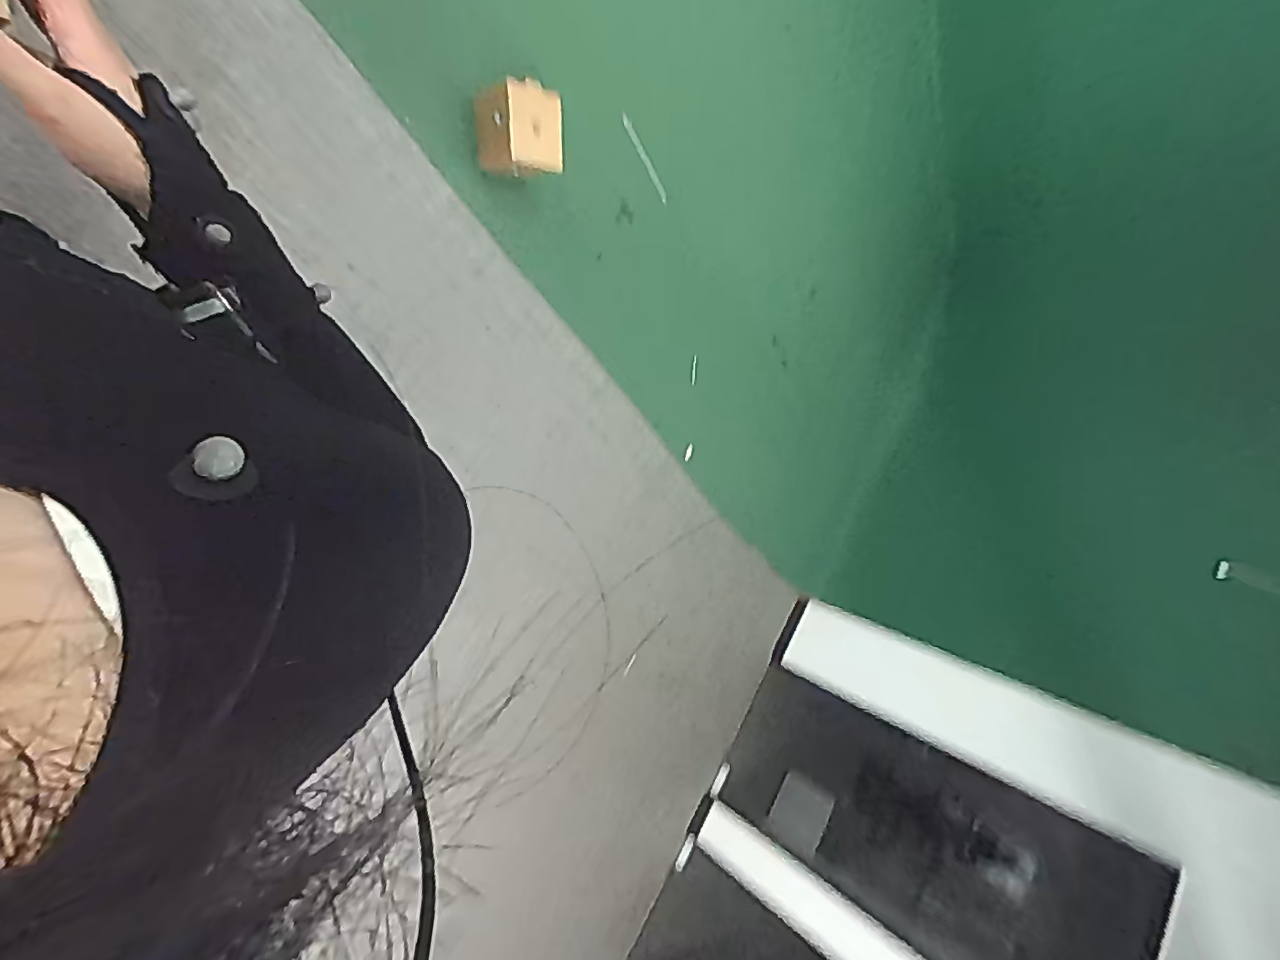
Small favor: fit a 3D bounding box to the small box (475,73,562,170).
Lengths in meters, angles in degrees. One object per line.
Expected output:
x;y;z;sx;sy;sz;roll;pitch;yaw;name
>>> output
-0.326;-0.950;1.452;0.168;0.176;0.179;-17;116;-42;small box
